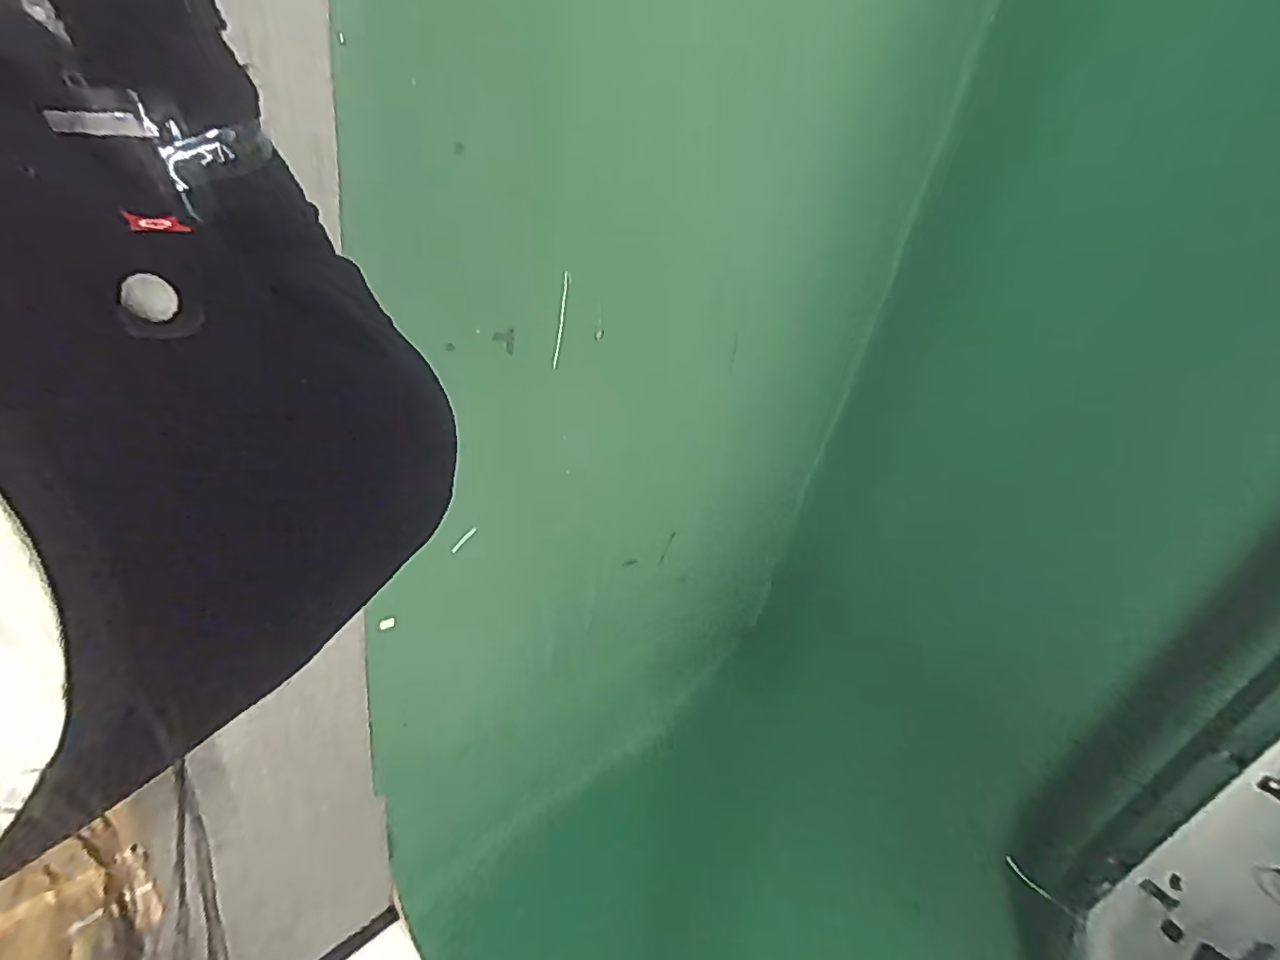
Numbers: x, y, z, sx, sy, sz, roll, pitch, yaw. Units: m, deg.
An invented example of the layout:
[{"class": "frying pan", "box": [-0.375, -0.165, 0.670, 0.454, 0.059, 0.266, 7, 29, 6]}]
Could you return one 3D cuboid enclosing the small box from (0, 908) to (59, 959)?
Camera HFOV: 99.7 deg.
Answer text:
[{"class": "small box", "box": [-1.298, 1.019, 1.076, 0.179, 0.176, 0.168, -15, 126, -42]}]
